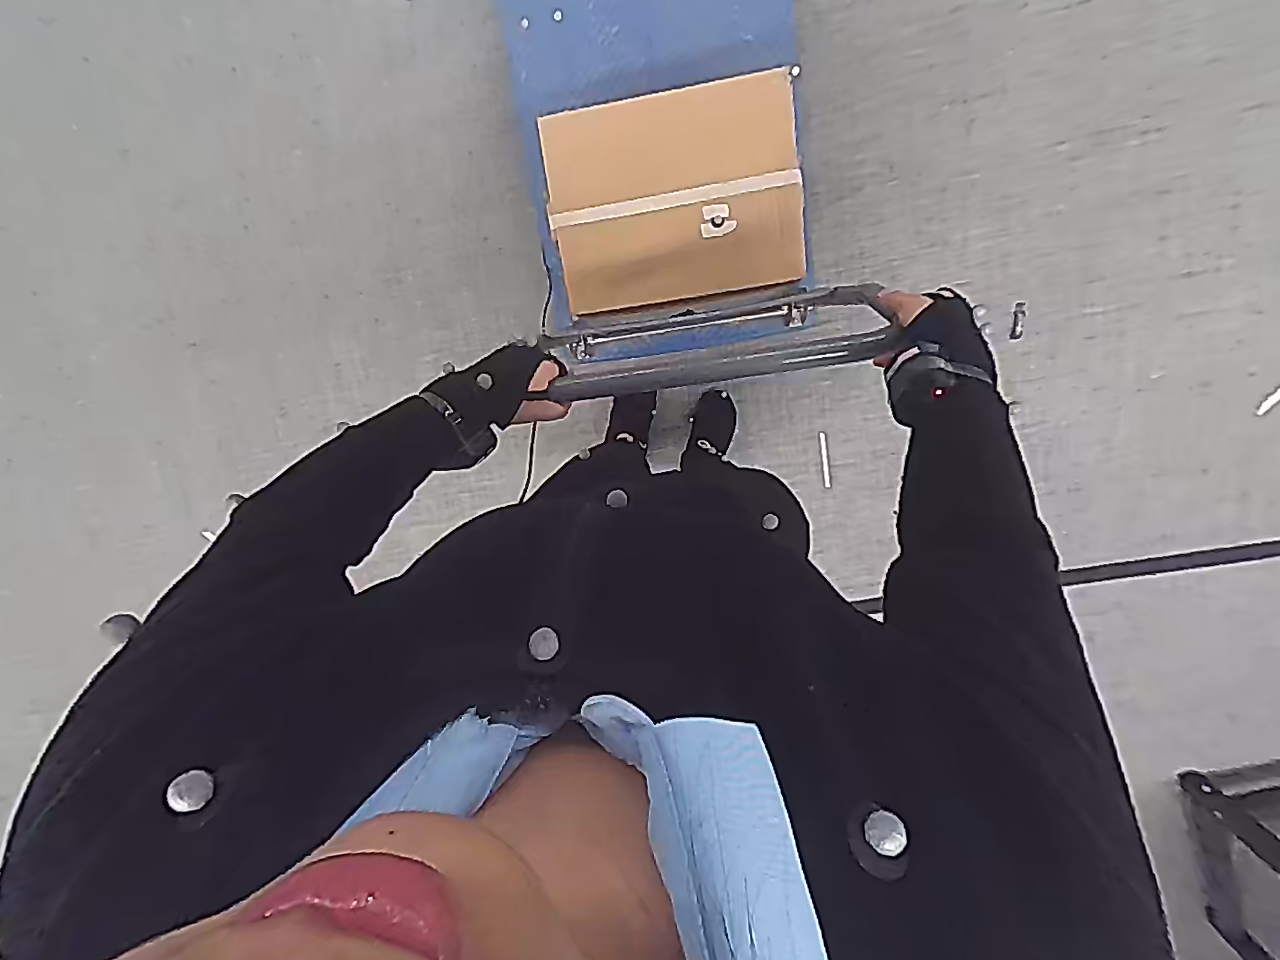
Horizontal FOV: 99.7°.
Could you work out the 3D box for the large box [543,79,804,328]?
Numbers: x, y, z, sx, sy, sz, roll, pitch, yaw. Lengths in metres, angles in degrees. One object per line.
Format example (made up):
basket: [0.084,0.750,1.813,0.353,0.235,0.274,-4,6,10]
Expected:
large box: [0.066,-0.485,1.039,0.408,0.320,0.320,-7,104,6]
